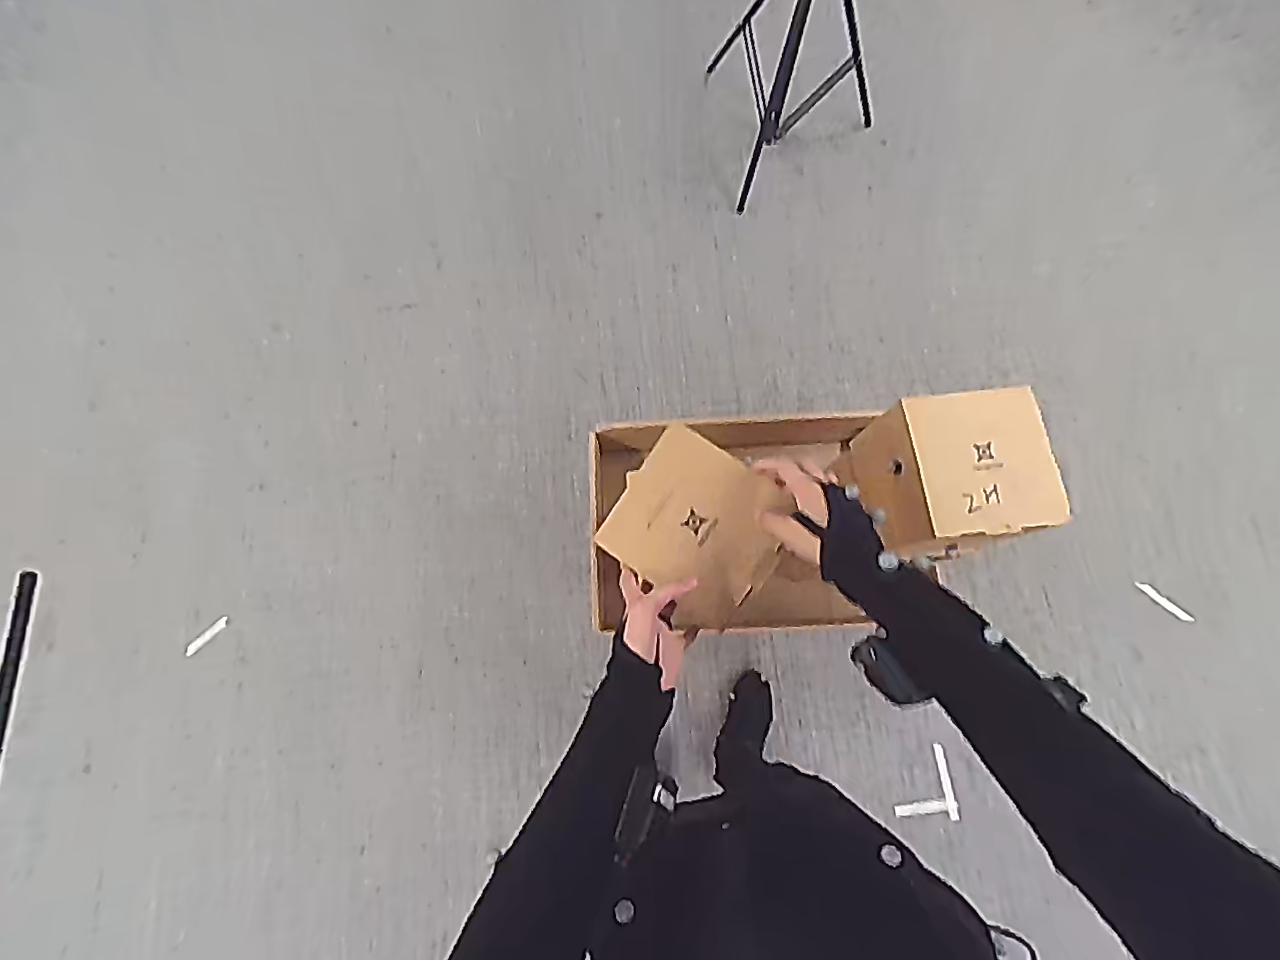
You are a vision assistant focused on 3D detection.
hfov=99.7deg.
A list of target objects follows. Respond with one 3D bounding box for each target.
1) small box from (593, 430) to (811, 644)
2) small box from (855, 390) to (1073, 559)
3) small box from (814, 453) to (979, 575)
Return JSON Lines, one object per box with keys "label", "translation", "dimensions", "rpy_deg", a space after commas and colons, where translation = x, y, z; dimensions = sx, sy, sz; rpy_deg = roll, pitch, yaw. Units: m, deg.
{"label": "small box", "translation": [0.075, 0.062, 0.653], "dimensions": [0.179, 0.176, 0.168], "rpy_deg": [36, 92, 9]}
{"label": "small box", "translation": [0.403, 0.001, 0.710], "dimensions": [0.168, 0.176, 0.179], "rpy_deg": [-6, 76, -2]}
{"label": "small box", "translation": [0.396, 0.056, 0.866], "dimensions": [0.168, 0.176, 0.179], "rpy_deg": [-6, 75, -2]}
